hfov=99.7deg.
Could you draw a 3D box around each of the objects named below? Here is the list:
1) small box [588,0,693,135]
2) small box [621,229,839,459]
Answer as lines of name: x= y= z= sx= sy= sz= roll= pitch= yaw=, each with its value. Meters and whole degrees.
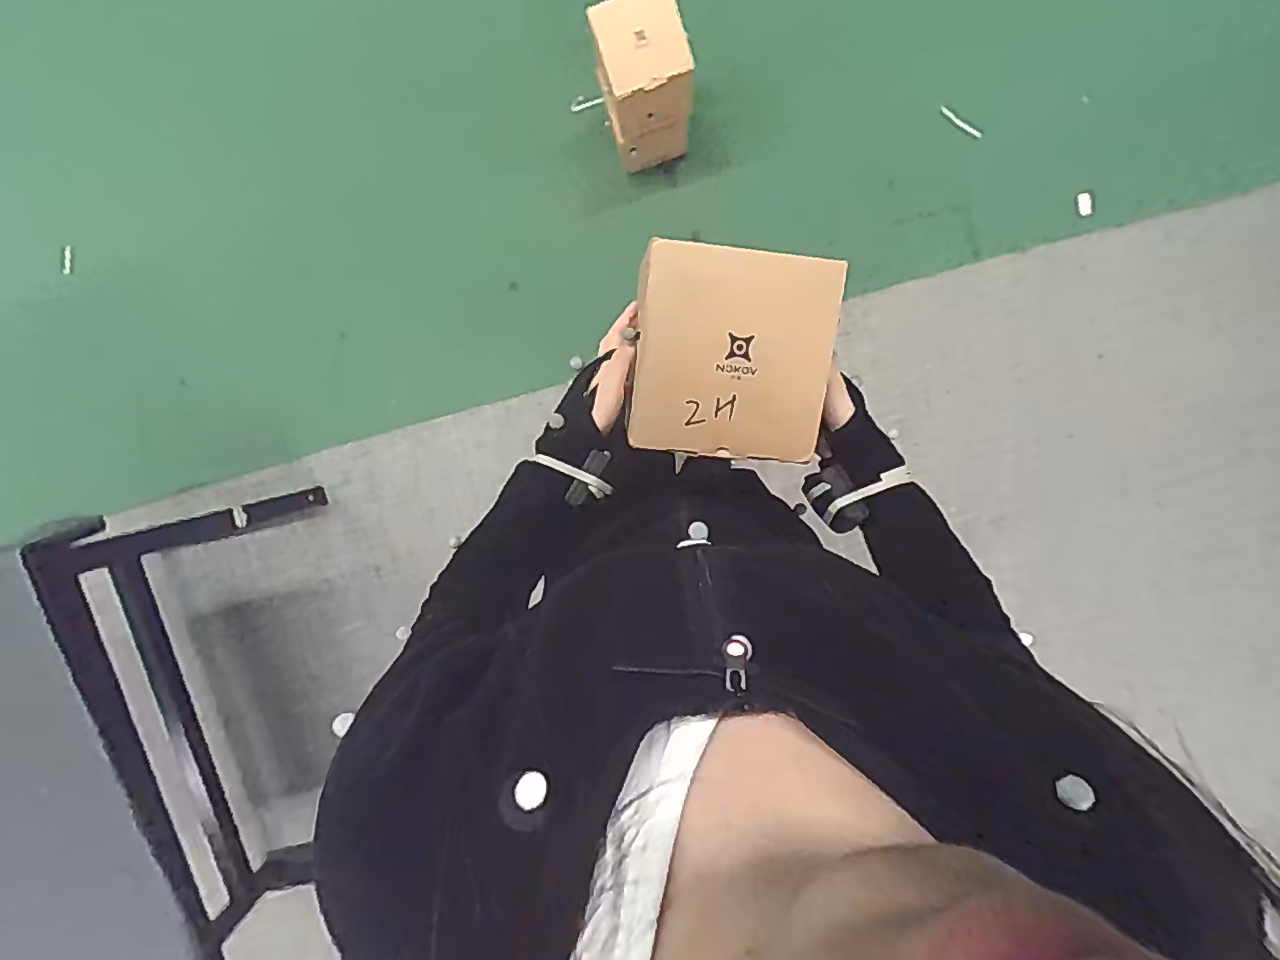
small box: x=0.002 y=-0.869 z=1.124 sx=0.168 sy=0.176 sz=0.179 roll=-19 pitch=97 yaw=4
small box: x=0.071 y=-0.126 z=0.534 sx=0.168 sy=0.176 sz=0.179 roll=5 pitch=102 yaw=-5
